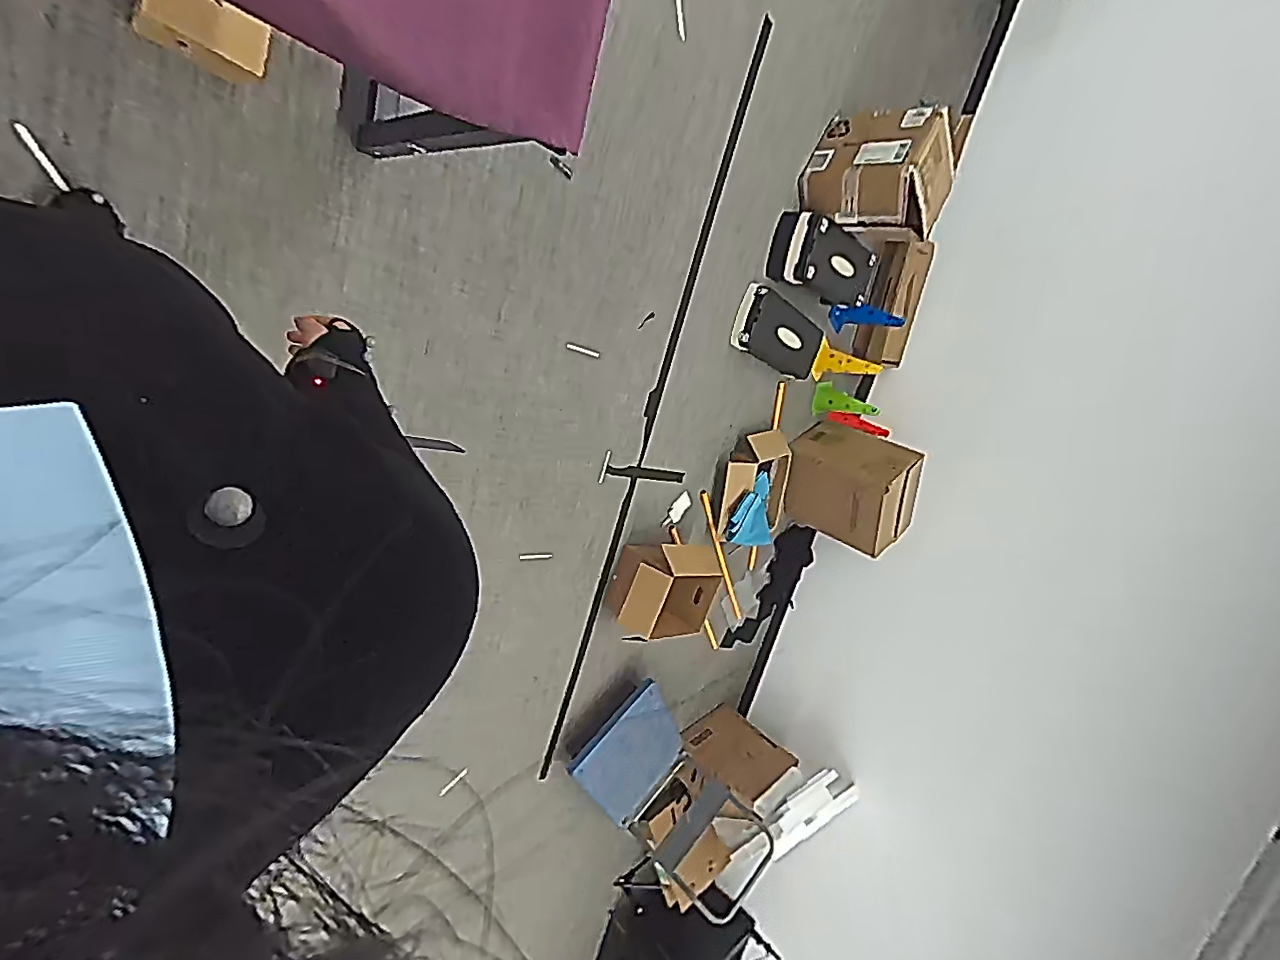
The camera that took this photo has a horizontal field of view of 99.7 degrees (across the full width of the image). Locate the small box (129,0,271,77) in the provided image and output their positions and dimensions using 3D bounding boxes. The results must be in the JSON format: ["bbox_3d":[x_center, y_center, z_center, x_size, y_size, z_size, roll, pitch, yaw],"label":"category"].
[{"bbox_3d":[-0.769,-0.852,0.949,0.168,0.176,0.179,9,103,-49],"label":"small box"}]
